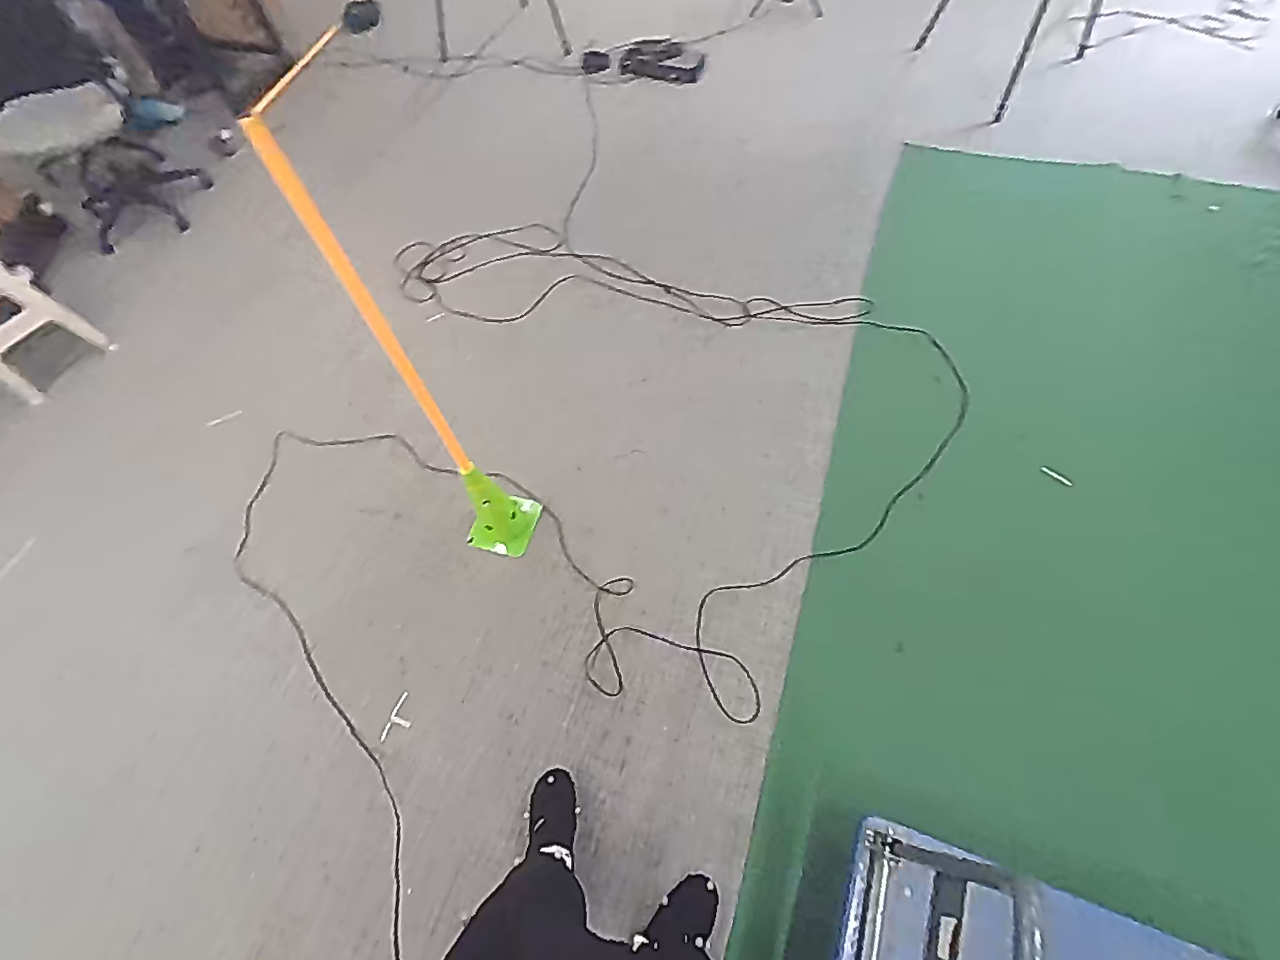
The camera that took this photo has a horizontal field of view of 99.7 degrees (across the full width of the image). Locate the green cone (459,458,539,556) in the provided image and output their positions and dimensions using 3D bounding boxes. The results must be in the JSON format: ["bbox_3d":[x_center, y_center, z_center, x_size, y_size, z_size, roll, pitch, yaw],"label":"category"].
[{"bbox_3d":[-0.458,0.054,1.613,0.200,0.368,0.202,12,60,11],"label":"green cone"}]
